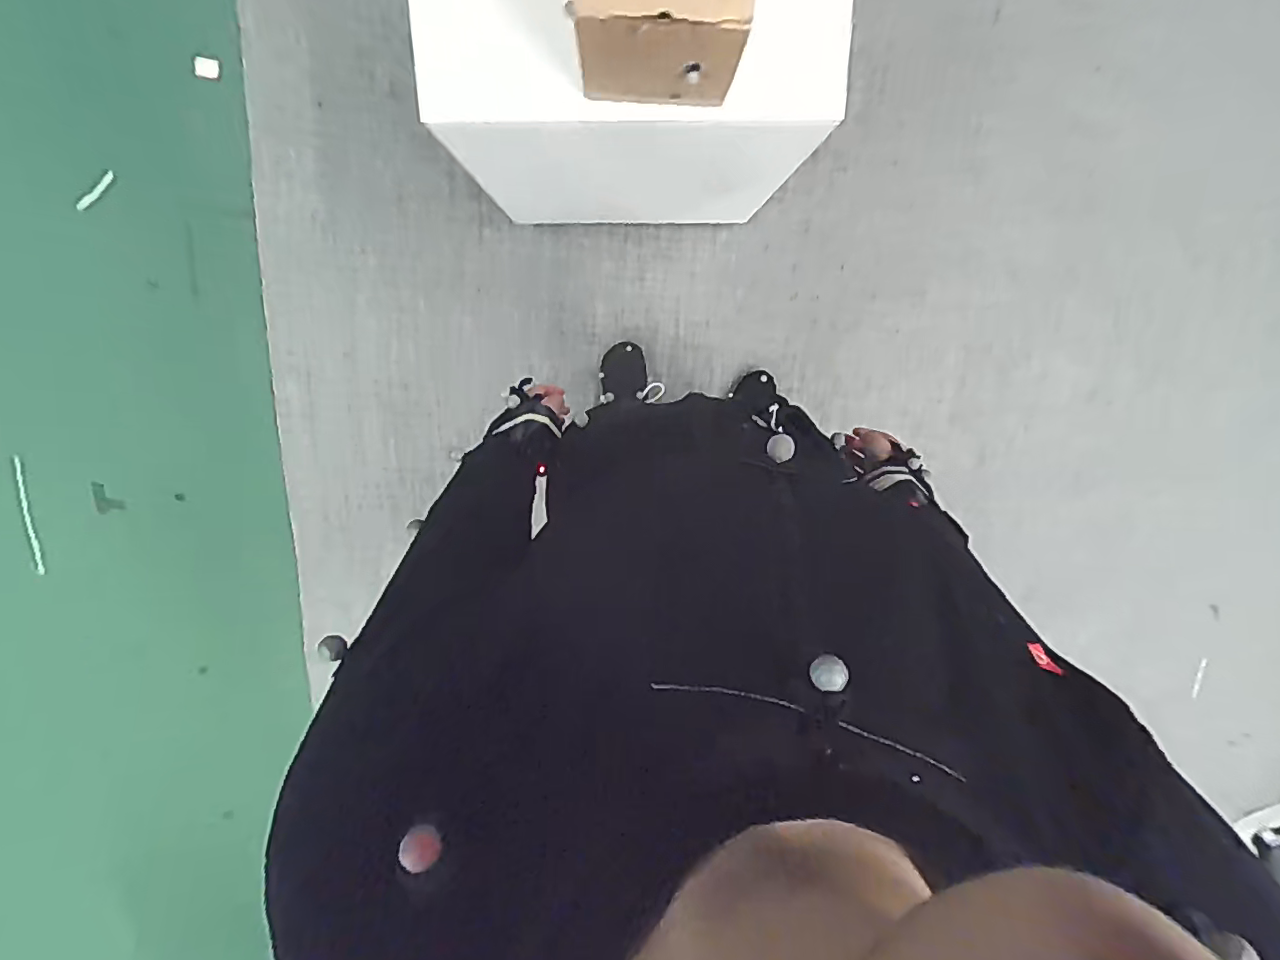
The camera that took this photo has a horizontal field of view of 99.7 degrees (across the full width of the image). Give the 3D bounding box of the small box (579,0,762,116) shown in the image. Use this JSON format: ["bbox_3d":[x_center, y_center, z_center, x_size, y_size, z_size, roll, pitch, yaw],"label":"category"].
[{"bbox_3d":[0.031,-0.503,0.549,0.168,0.176,0.179,3,102,-2],"label":"small box"}]
